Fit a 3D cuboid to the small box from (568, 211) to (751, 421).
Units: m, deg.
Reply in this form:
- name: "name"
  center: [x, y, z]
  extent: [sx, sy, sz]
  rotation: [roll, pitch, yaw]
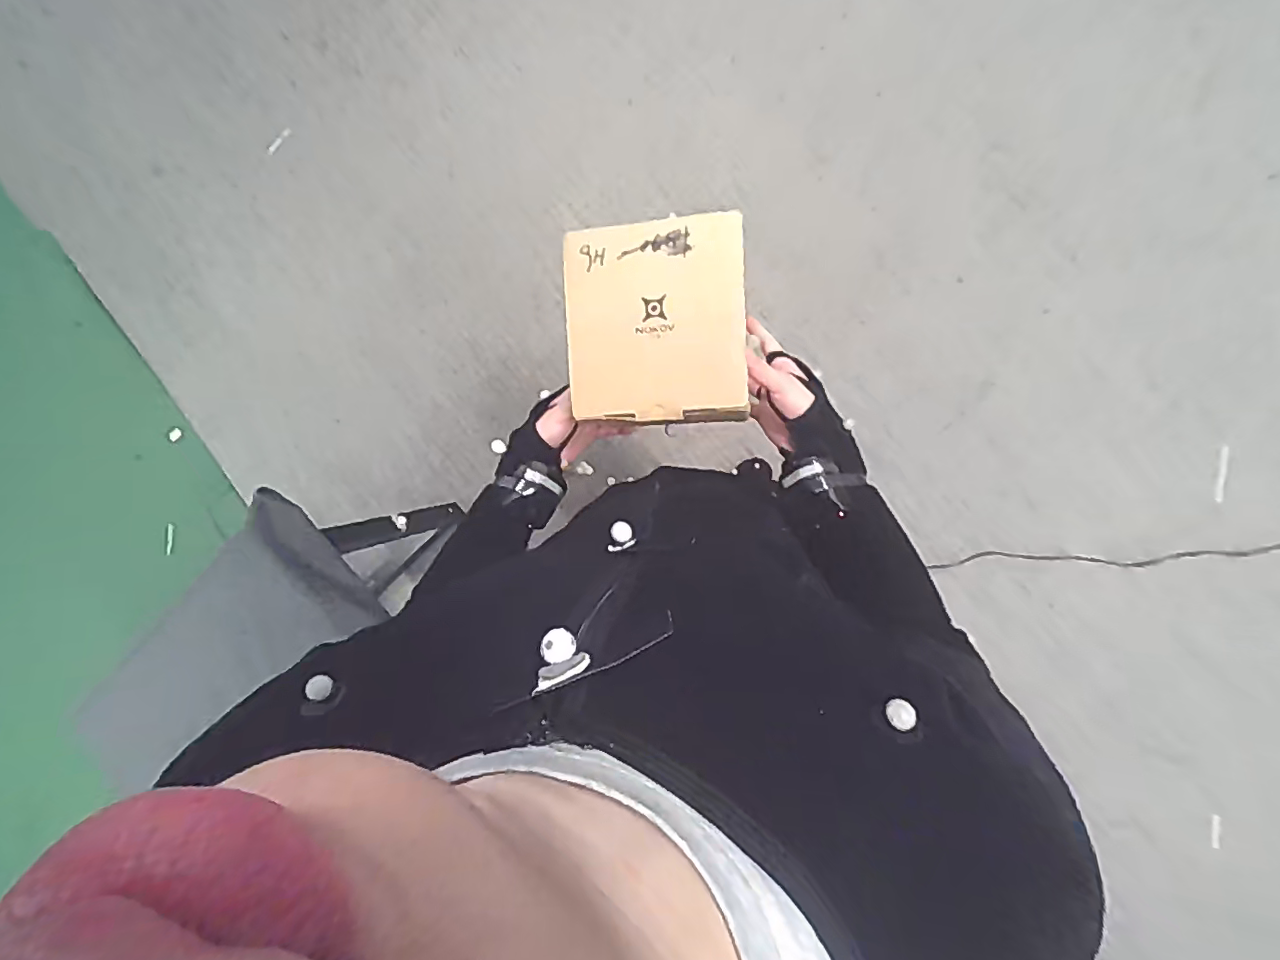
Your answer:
- name: "small box"
  center: [0.031, -0.152, 0.565]
  extent: [0.168, 0.176, 0.179]
  rotation: [-2, 94, 9]
